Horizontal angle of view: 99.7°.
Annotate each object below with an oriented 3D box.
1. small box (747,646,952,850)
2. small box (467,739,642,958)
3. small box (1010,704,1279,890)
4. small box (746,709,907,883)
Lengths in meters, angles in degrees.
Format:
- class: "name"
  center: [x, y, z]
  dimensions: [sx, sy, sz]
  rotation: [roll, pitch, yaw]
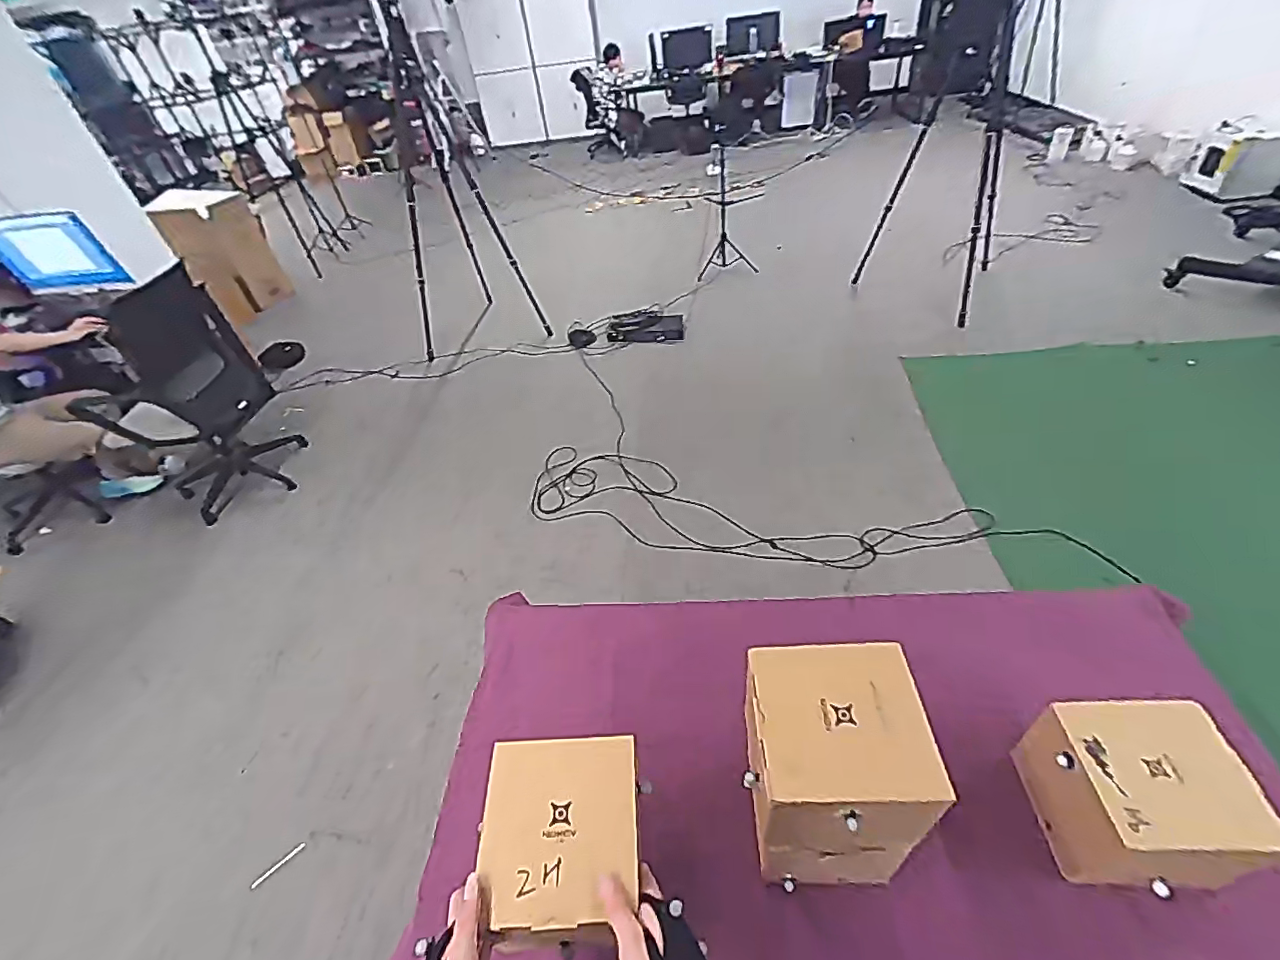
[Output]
- class: "small box"
  center: [0.218, 0.309, 0.622]
  dimensions: [0.179, 0.176, 0.168]
  rotation: [-3, 43, 5]
- class: "small box"
  center: [-0.082, 0.420, 0.619]
  dimensions: [0.168, 0.176, 0.179]
  rotation: [-3, 44, 0]
- class: "small box"
  center: [0.625, 0.405, 0.693]
  dimensions: [0.179, 0.176, 0.168]
  rotation: [-3, 42, 6]
- class: "small box"
  center: [0.237, 0.427, 0.735]
  dimensions: [0.168, 0.176, 0.179]
  rotation: [-4, 42, 5]
